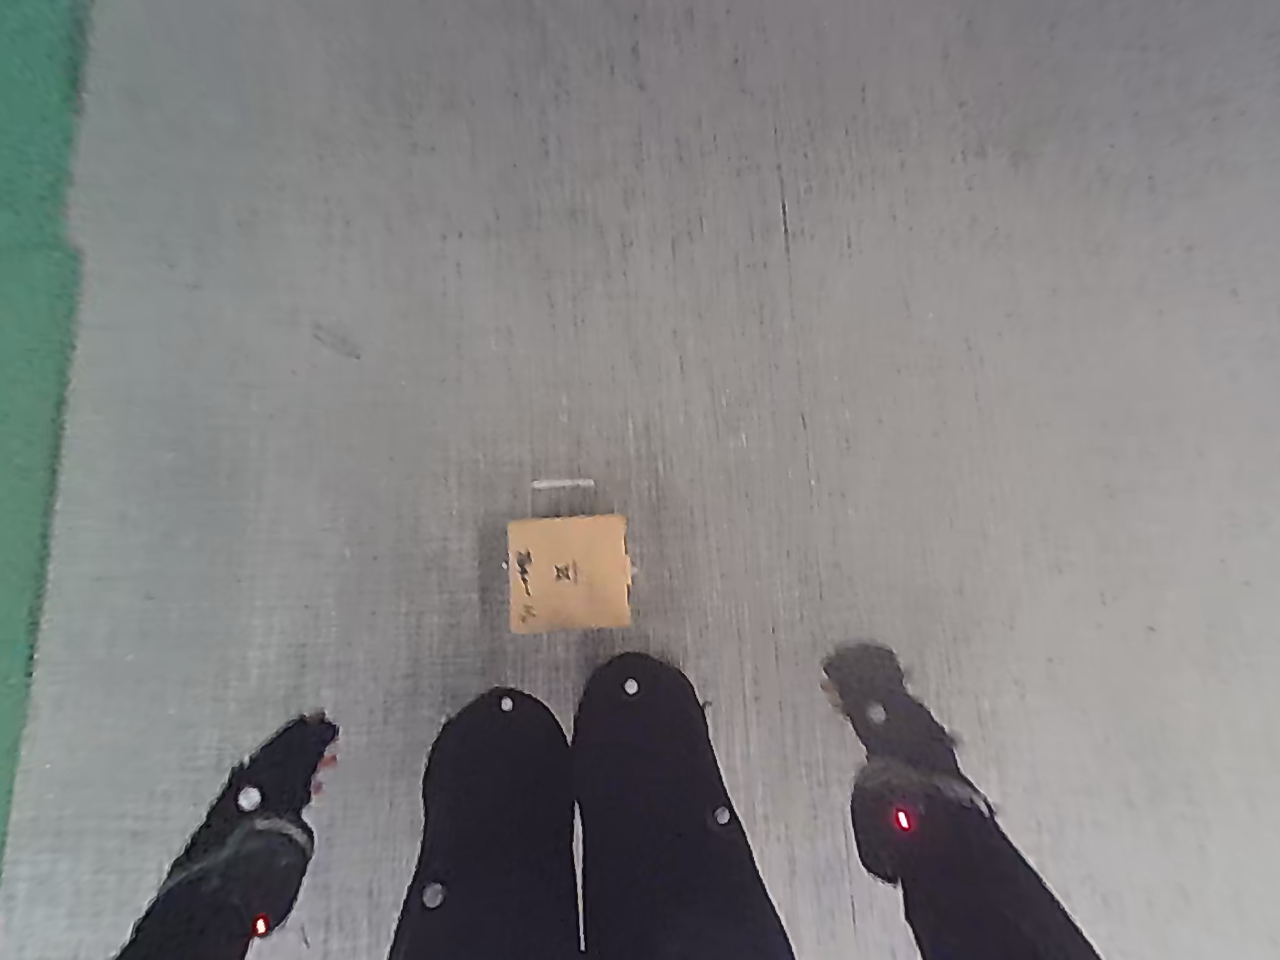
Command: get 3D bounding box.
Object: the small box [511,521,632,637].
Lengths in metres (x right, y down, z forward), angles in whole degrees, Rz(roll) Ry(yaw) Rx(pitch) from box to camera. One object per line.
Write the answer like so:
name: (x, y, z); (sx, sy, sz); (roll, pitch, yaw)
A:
small box: (-0.107, 0.157, 0.880); (0.179, 0.176, 0.168); (-3, 80, -3)
